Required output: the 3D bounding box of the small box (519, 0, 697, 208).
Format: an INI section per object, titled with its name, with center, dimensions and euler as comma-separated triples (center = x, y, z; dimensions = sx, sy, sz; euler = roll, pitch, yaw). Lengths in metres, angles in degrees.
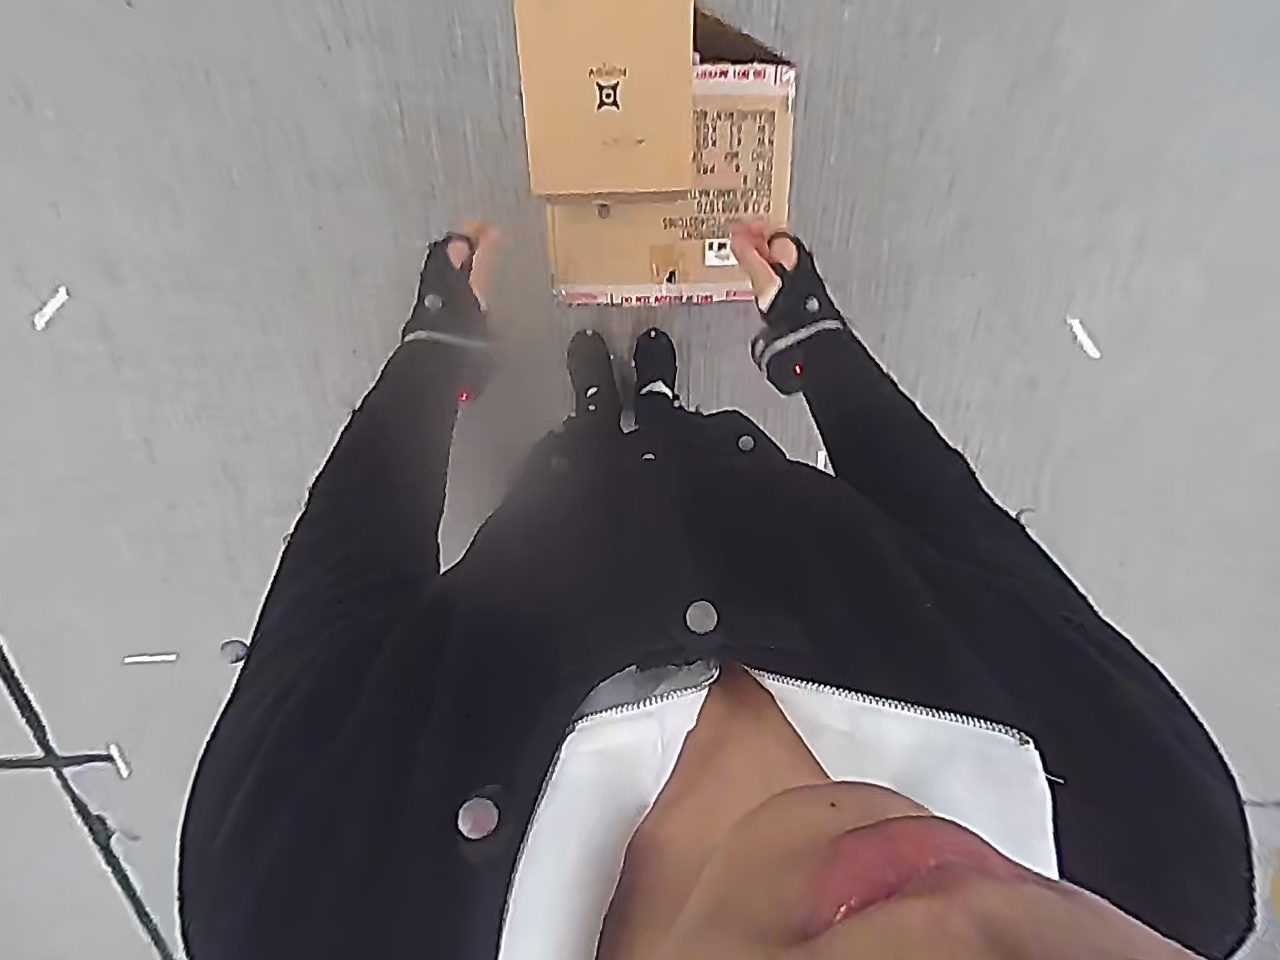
[small box]
center = -0.031, -0.403, 0.593
dimensions = 0.168, 0.176, 0.179
euler = -2, 114, -1
